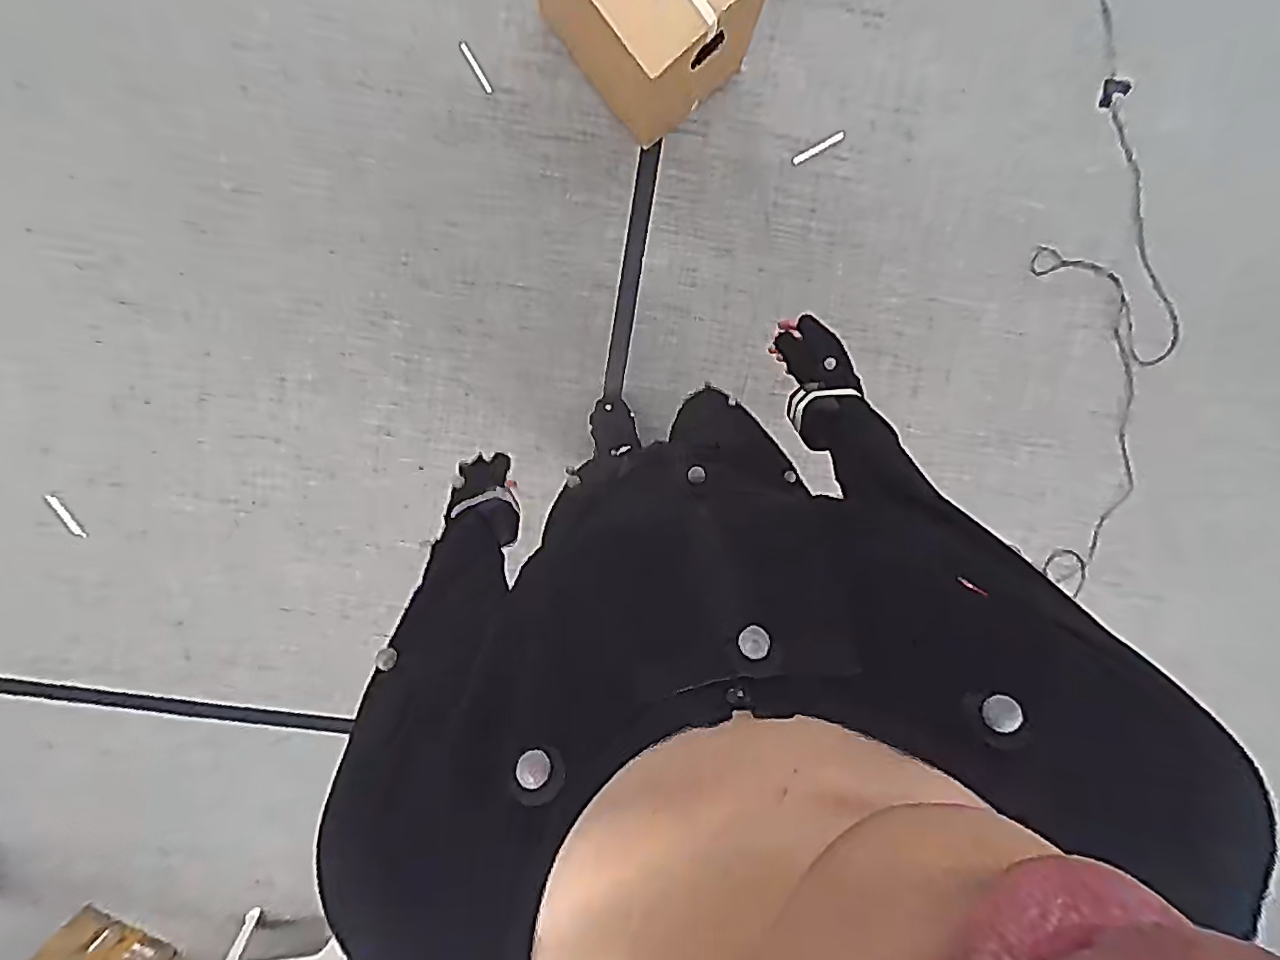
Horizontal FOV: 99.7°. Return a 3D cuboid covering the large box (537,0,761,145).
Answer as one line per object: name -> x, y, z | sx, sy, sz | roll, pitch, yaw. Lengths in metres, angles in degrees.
large box -> 0.005, -1.054, 1.171 | 0.320, 0.320, 0.408 | -40, 99, 5
